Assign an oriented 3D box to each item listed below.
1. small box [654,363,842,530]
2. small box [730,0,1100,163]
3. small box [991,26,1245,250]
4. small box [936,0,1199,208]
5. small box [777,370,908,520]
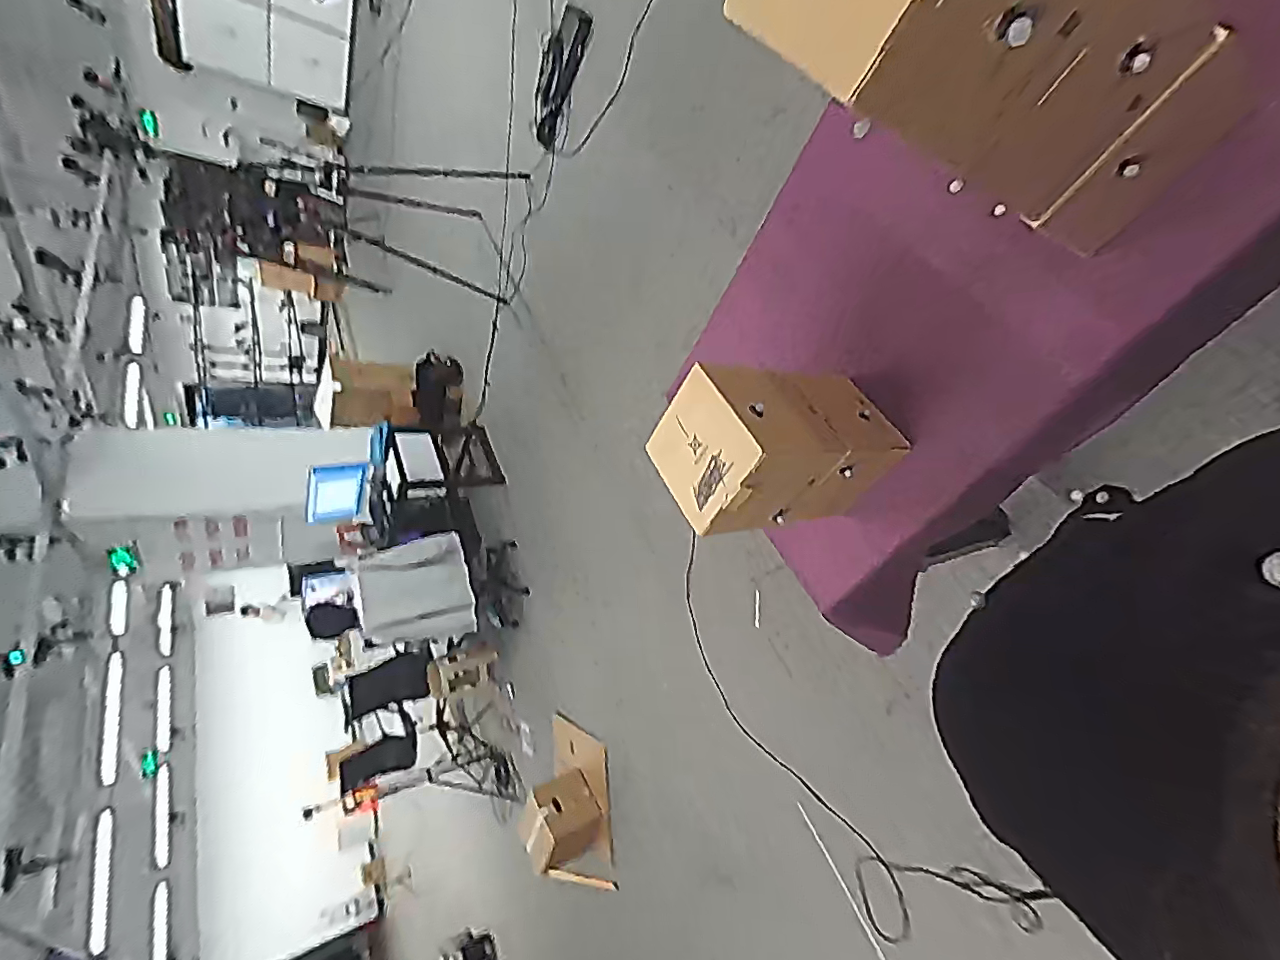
[{"bbox_3d":[0.154,-0.049,0.789,0.168,0.176,0.179,-58,47,38],"label":"small box"},{"bbox_3d":[0.208,-0.369,0.403,0.168,0.176,0.179,-55,51,40],"label":"small box"},{"bbox_3d":[0.479,-0.379,0.586,0.179,0.176,0.168,-54,51,42],"label":"small box"},{"bbox_3d":[0.343,-0.378,0.496,0.168,0.176,0.179,-54,50,41],"label":"small box"},{"bbox_3d":[0.290,-0.054,0.881,0.179,0.176,0.168,-58,48,38],"label":"small box"}]
